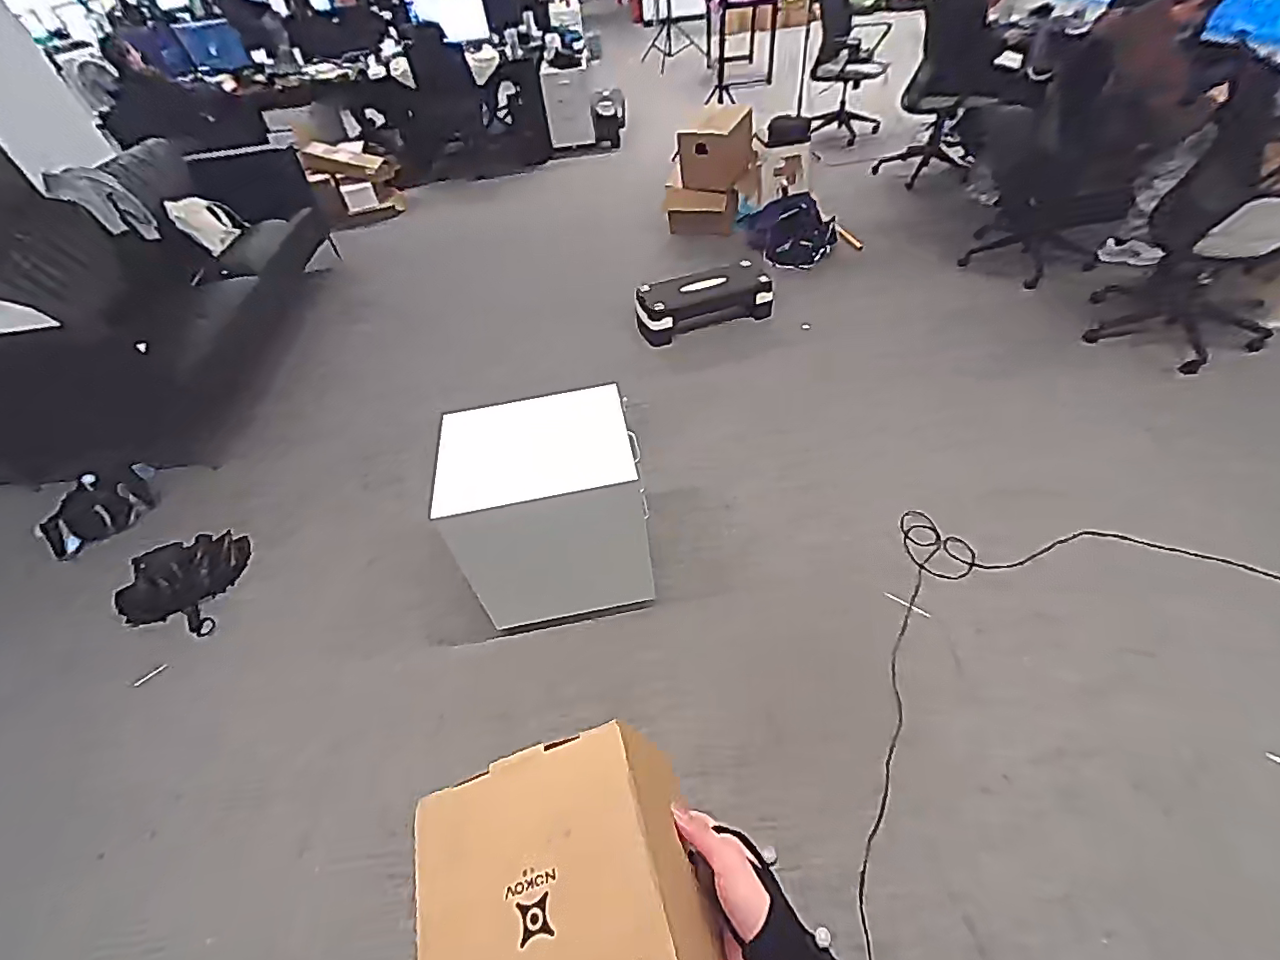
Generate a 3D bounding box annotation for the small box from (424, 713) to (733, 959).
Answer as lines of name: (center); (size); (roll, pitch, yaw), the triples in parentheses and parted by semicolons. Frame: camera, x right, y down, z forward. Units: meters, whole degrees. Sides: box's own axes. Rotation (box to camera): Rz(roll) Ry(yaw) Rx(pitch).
small box: (-0.042, 0.310, 0.411); (0.168, 0.176, 0.179); (-23, 51, 2)
